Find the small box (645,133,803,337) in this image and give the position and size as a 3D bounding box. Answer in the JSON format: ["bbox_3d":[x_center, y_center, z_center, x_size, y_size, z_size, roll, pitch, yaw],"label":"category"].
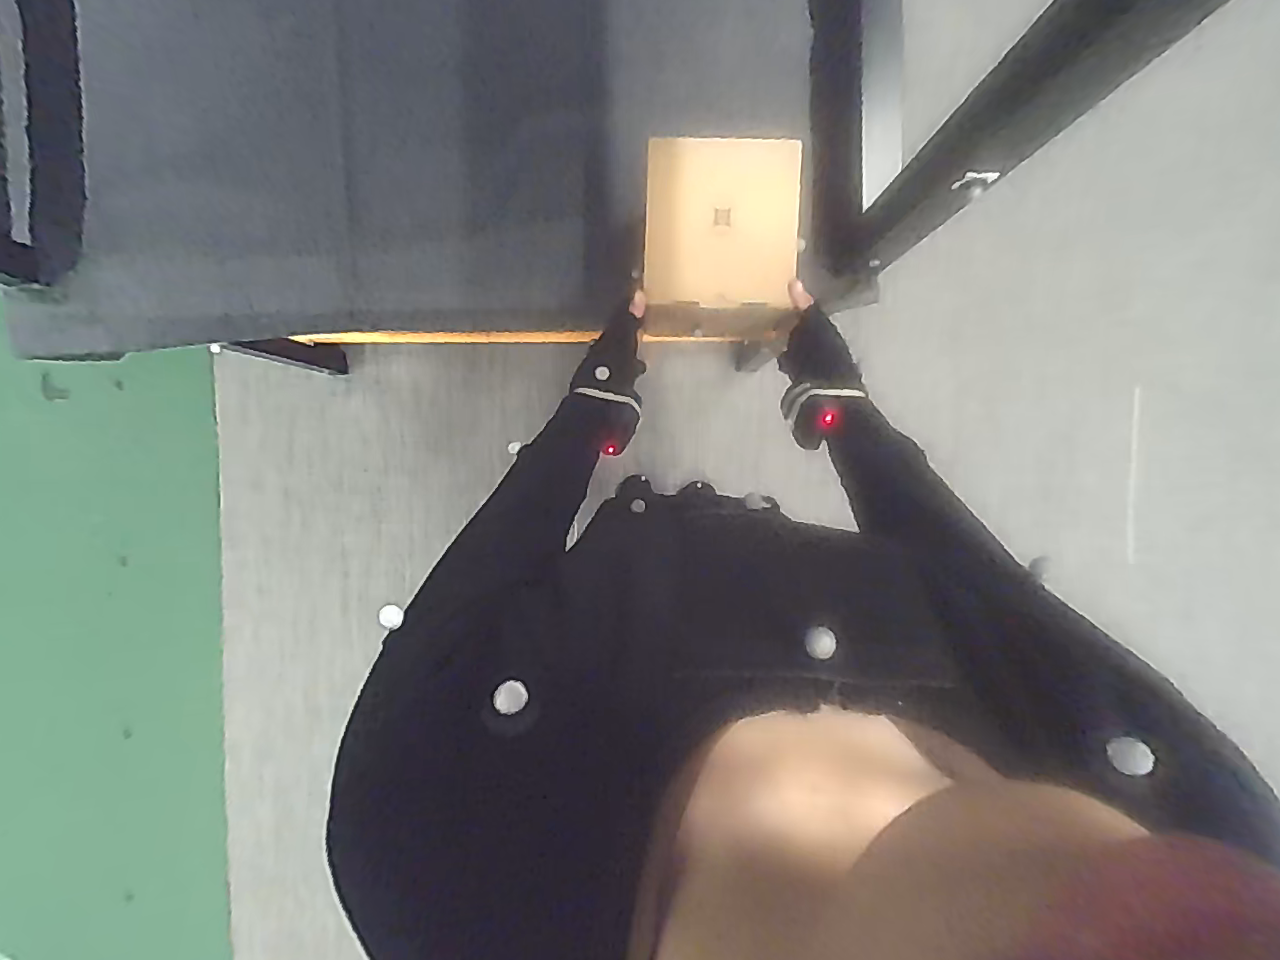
[{"bbox_3d":[0.090,-0.281,0.652,0.168,0.176,0.179,1,93,2],"label":"small box"}]
